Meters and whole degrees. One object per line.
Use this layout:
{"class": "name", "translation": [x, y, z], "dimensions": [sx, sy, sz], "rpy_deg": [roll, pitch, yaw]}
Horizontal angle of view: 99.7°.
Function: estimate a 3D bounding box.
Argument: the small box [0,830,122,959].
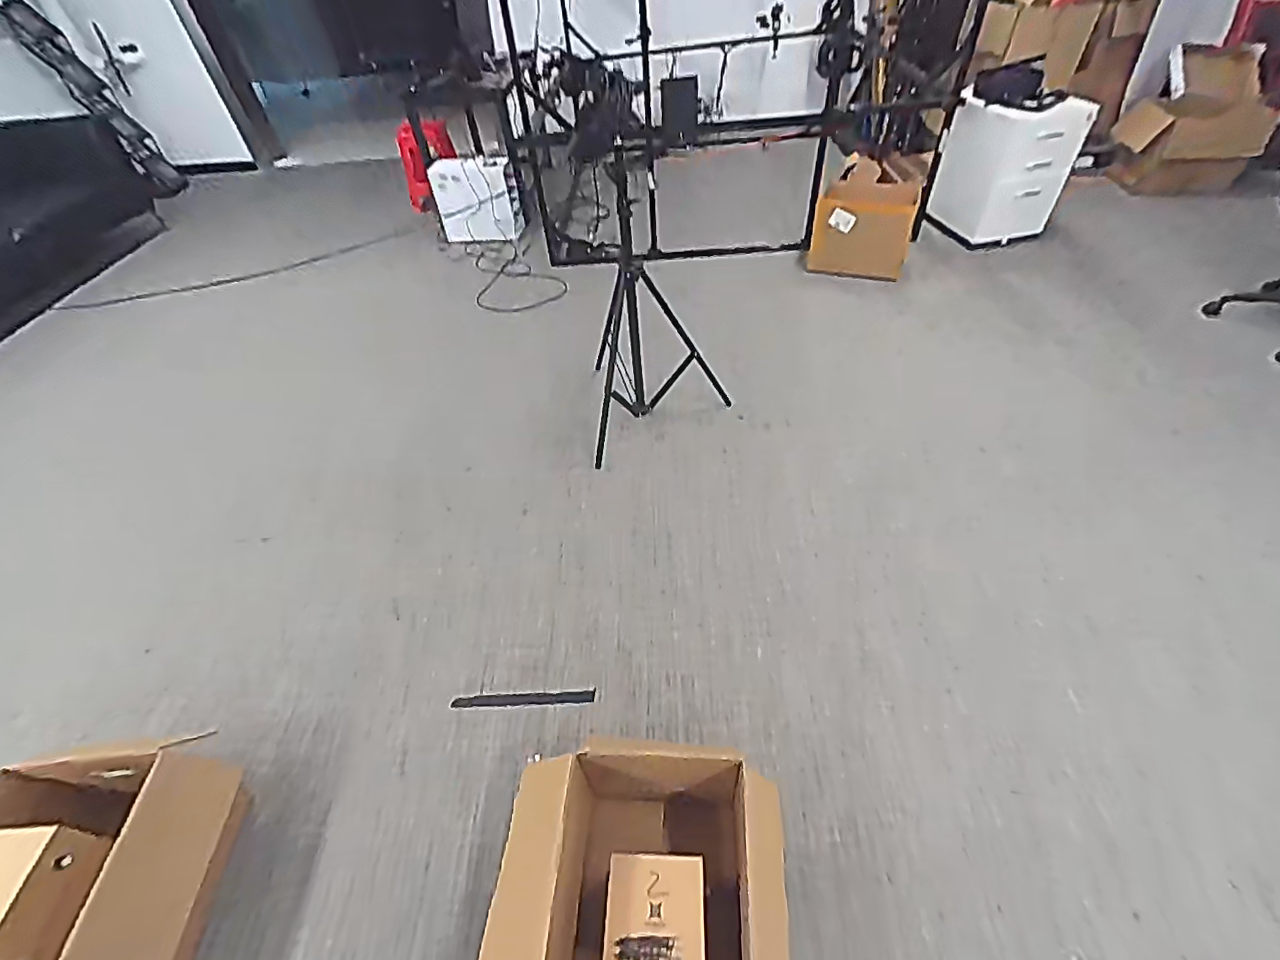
{"class": "small box", "translation": [-1.046, 0.714, 0.911], "dimensions": [0.168, 0.176, 0.179], "rpy_deg": [-5, 46, 1]}
